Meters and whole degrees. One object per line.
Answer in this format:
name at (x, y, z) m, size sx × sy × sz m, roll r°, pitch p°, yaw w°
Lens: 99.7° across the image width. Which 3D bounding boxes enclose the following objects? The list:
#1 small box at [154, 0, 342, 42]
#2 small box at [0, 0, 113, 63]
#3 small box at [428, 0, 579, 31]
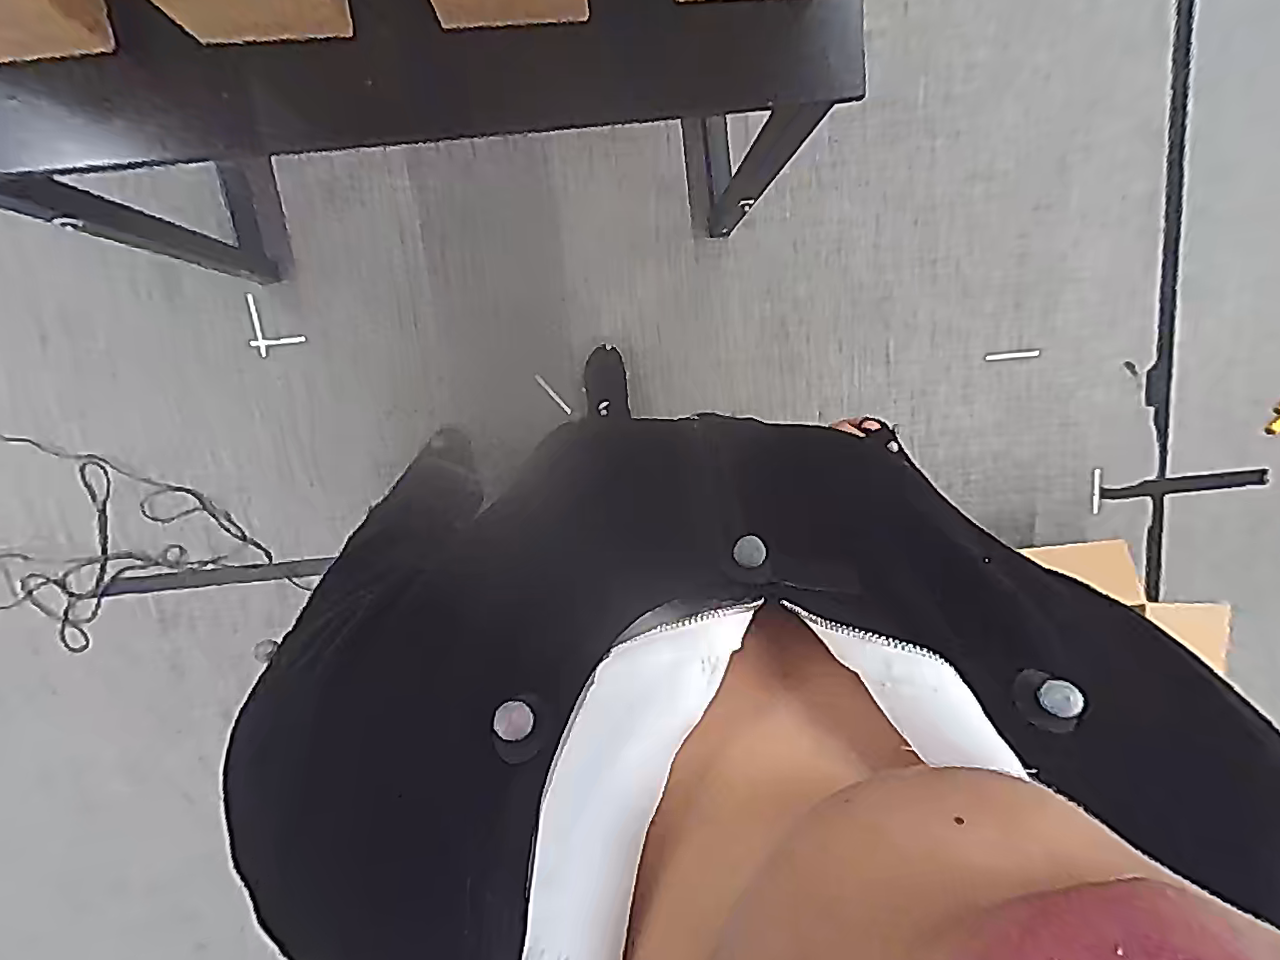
small box at (-0.425, -0.580, 0.540) m, size 0.179 × 0.176 × 0.168 m, roll -5°, pitch 100°, yaw -2°
small box at (-0.696, -0.548, 0.529) m, size 0.179 × 0.176 × 0.168 m, roll -9°, pitch 100°, yaw -2°
small box at (-0.153, -0.607, 0.553) m, size 0.179 × 0.176 × 0.168 m, roll -7°, pitch 98°, yaw -3°
